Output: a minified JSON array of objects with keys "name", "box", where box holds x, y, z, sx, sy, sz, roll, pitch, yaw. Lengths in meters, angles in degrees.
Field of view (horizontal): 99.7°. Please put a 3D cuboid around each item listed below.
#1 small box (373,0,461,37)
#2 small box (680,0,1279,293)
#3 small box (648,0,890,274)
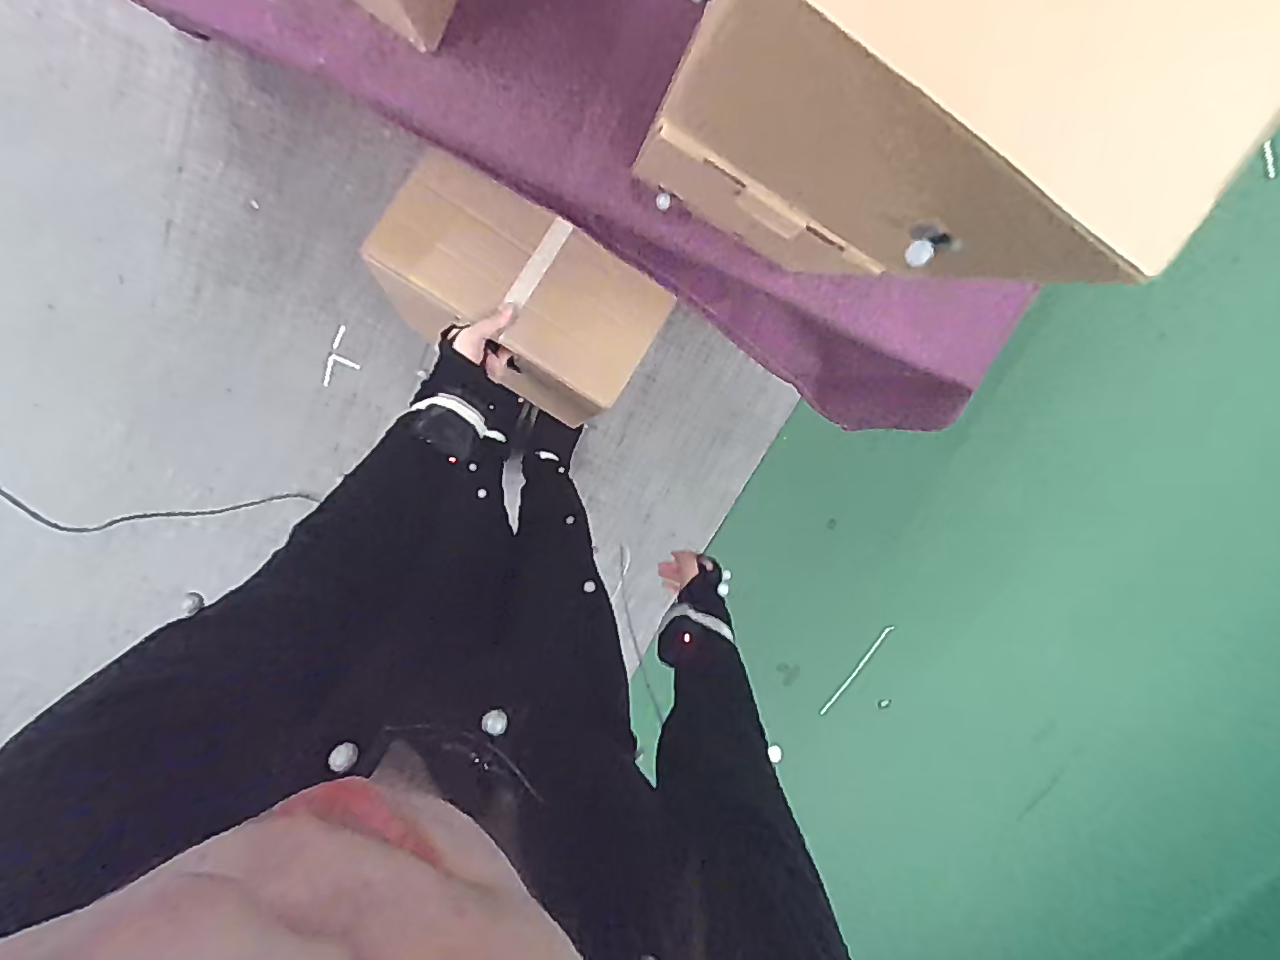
[{"name":"small box","box":[-0.162,-0.400,0.286,0.168,0.176,0.179,29,108,-17]},{"name":"small box","box":[0.138,-0.201,0.224,0.179,0.176,0.168,26,107,-15]},{"name":"small box","box":[0.116,-0.264,0.374,0.168,0.176,0.179,24,107,-15]}]
